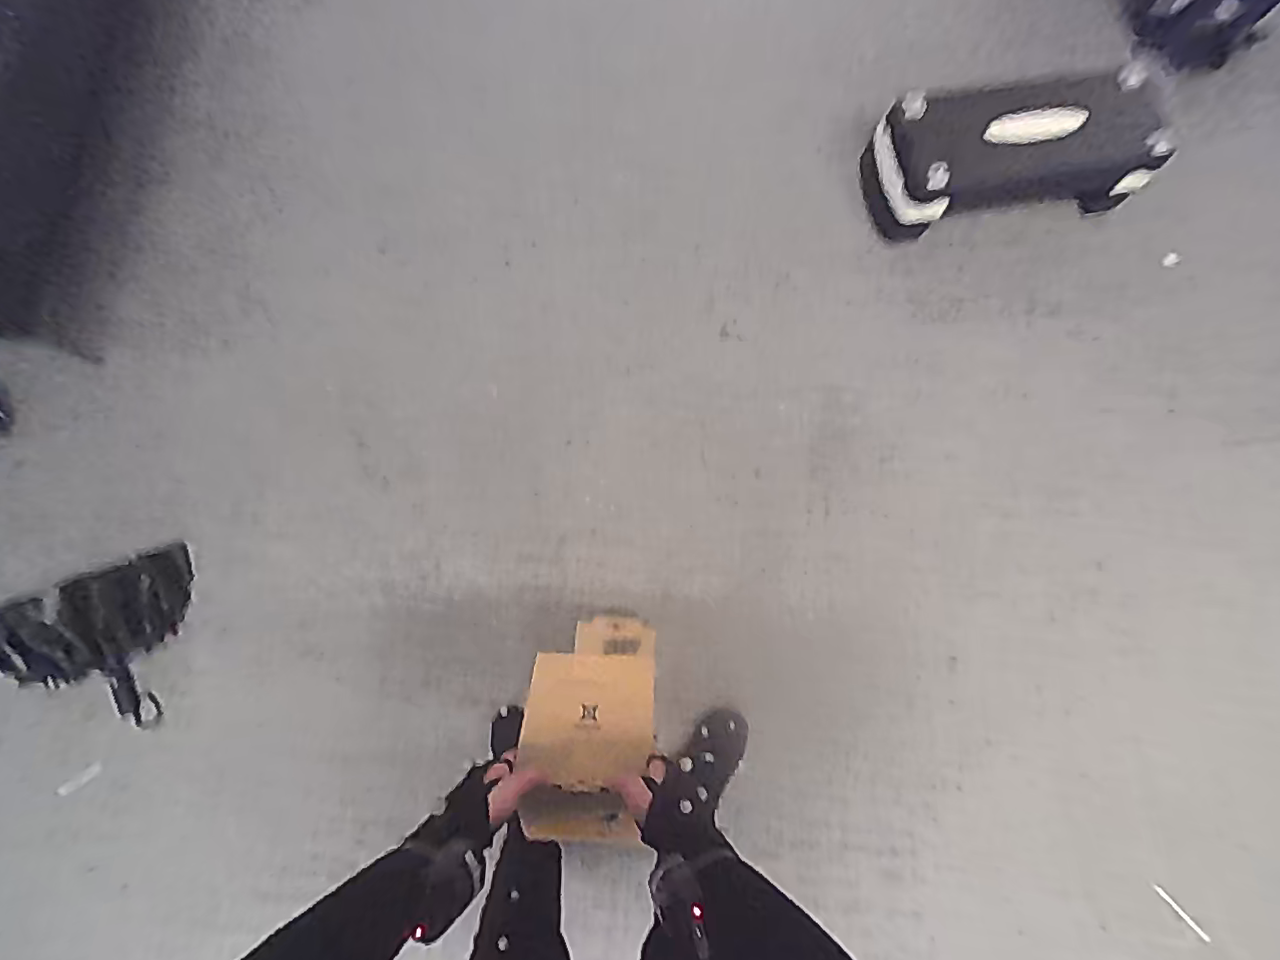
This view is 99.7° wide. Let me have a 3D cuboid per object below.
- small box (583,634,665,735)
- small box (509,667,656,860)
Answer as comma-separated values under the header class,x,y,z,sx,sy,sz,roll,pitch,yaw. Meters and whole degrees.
class,x,y,z,sx,sy,sz,roll,pitch,yaw
small box,-0.037,0.430,1.164,0.168,0.176,0.179,4,77,3
small box,-0.063,0.373,0.713,0.168,0.176,0.179,1,36,1
